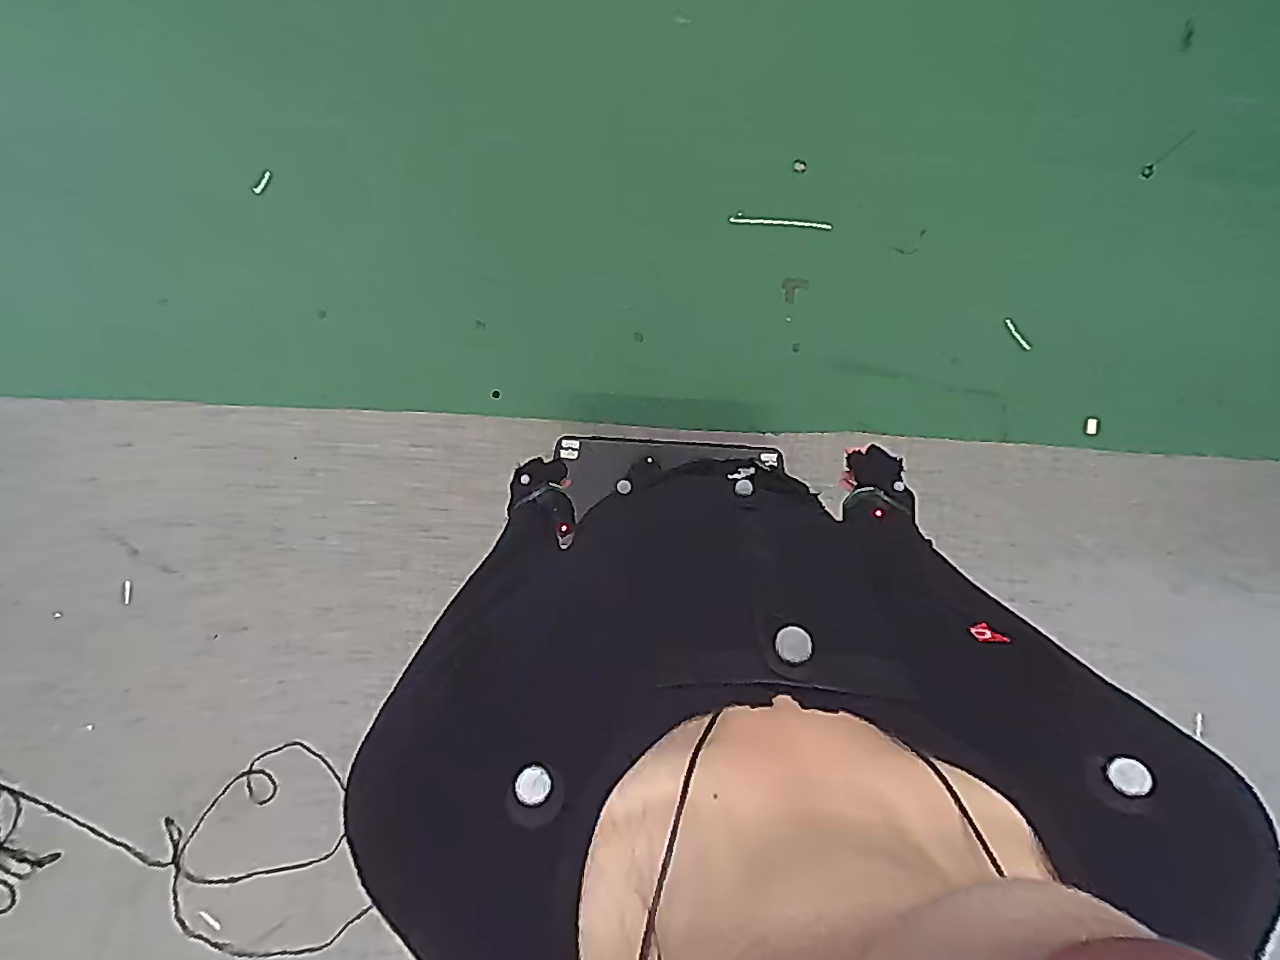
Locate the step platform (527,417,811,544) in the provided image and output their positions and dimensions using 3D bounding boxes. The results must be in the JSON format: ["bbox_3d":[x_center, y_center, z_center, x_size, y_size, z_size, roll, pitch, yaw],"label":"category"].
[{"bbox_3d":[0.068,-0.001,1.388,0.684,0.204,0.286,2,92,0],"label":"step platform"}]
